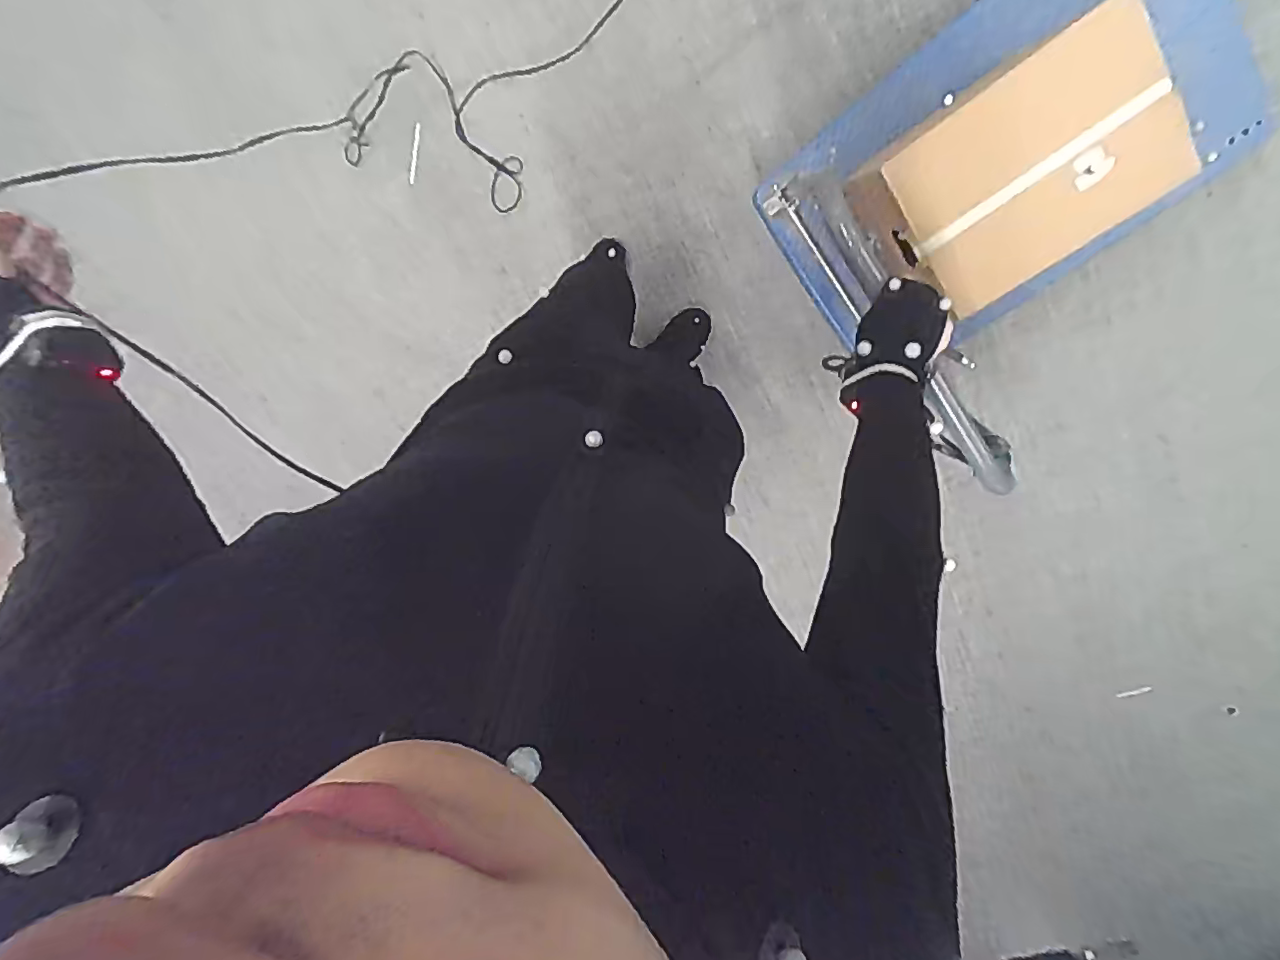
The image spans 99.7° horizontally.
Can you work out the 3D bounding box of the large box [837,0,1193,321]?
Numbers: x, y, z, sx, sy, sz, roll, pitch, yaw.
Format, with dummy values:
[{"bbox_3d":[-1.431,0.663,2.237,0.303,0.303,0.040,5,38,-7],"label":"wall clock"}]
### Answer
[{"bbox_3d":[0.657,-0.561,1.023,0.408,0.320,0.320,-32,108,17],"label":"large box"}]
